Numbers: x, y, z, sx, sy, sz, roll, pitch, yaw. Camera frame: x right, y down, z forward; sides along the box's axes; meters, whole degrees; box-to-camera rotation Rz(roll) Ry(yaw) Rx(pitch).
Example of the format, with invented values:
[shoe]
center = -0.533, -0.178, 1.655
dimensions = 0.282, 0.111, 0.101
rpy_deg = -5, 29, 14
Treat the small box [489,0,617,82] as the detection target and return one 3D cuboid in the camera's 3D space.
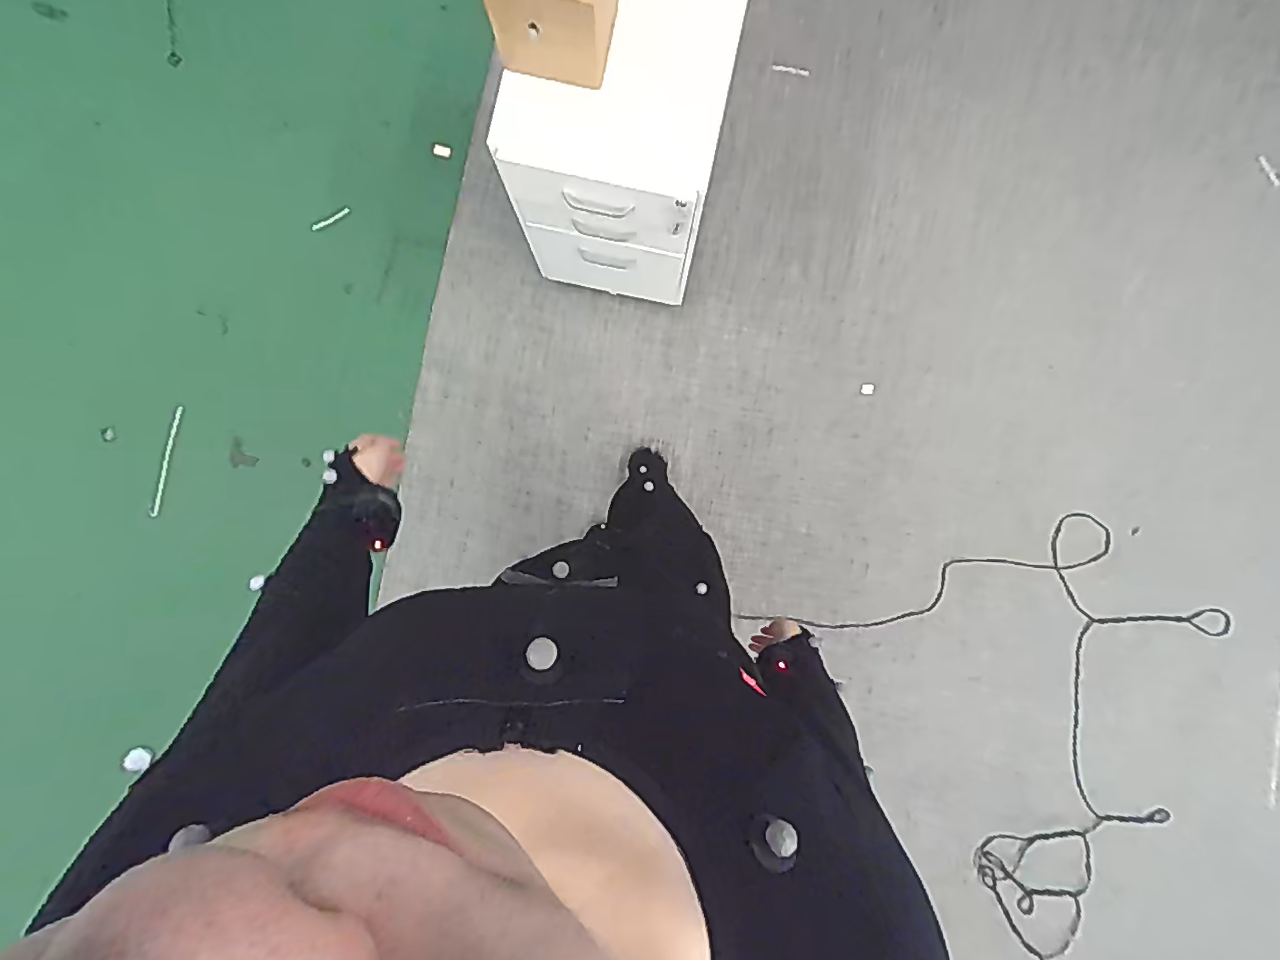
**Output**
[small box]
center = -0.139, -0.786, 0.866
dimensions = 0.179, 0.176, 0.168
rpy_deg = 12, 88, -1
